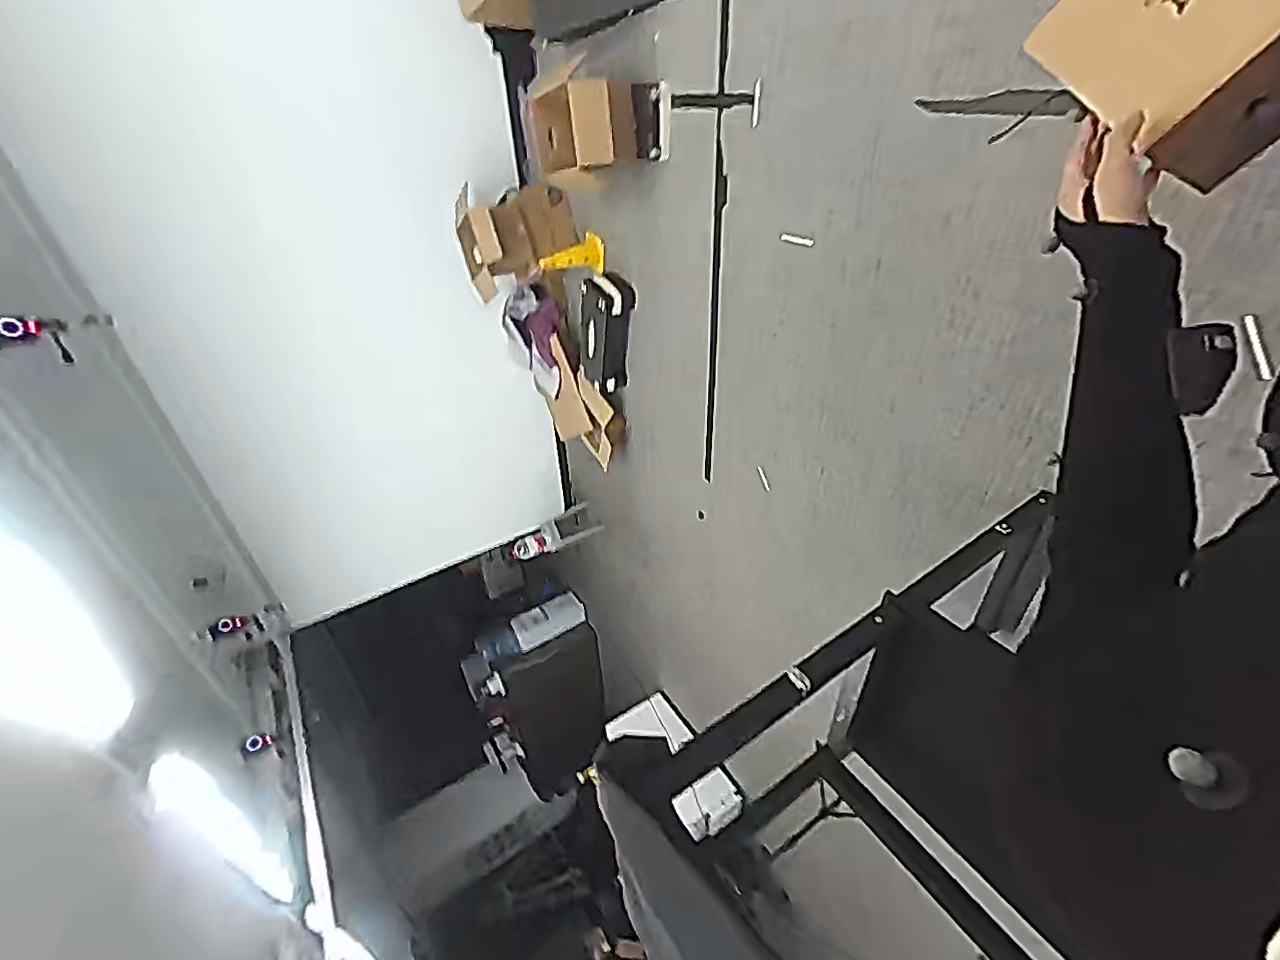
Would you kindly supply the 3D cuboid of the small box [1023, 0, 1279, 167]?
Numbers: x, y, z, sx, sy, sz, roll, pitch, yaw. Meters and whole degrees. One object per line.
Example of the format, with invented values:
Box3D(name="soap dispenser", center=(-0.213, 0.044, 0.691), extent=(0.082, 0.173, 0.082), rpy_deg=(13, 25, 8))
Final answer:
Box3D(name="small box", center=(0.487, -0.397, 0.454), extent=(0.168, 0.176, 0.179), rpy_deg=(-50, 51, 49))
